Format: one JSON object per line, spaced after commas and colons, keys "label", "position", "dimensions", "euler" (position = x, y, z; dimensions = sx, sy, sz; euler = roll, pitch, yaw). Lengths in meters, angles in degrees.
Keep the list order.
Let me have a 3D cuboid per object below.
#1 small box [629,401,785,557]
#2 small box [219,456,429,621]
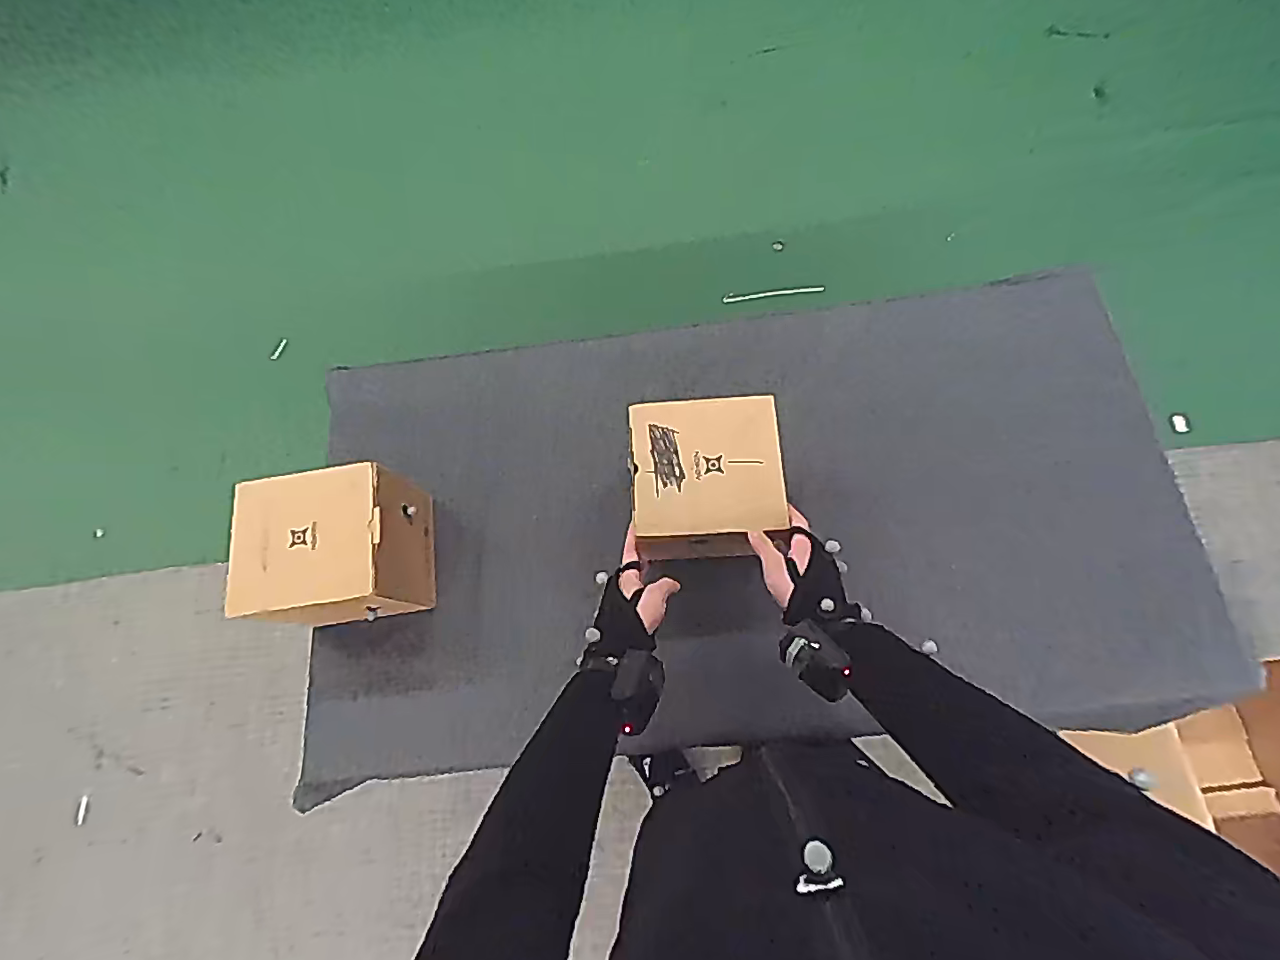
{"label": "small box", "position": [0.083, 0.007, 0.699], "dimensions": [0.179, 0.176, 0.168], "euler": [0, 75, 5]}
{"label": "small box", "position": [-0.387, 0.084, 0.697], "dimensions": [0.179, 0.176, 0.168], "euler": [-10, 71, 2]}
